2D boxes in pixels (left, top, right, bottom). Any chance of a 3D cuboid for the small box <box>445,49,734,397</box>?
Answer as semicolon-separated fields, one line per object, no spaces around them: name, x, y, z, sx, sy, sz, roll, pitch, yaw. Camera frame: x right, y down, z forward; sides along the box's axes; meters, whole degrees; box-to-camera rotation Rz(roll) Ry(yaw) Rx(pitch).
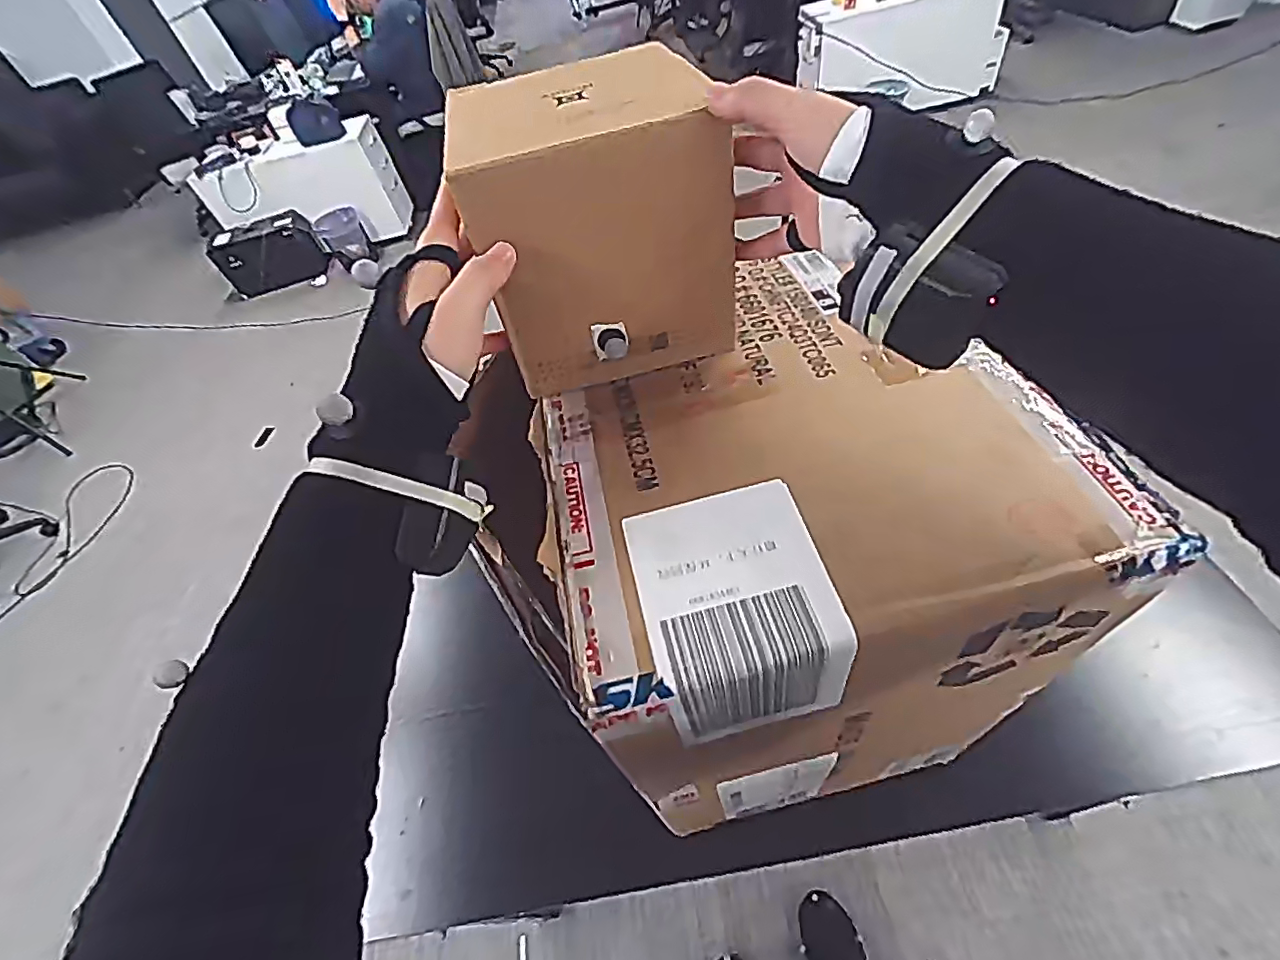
small box;-0.034;-0.193;0.412;0.168;0.176;0.179;-16;49;-2
